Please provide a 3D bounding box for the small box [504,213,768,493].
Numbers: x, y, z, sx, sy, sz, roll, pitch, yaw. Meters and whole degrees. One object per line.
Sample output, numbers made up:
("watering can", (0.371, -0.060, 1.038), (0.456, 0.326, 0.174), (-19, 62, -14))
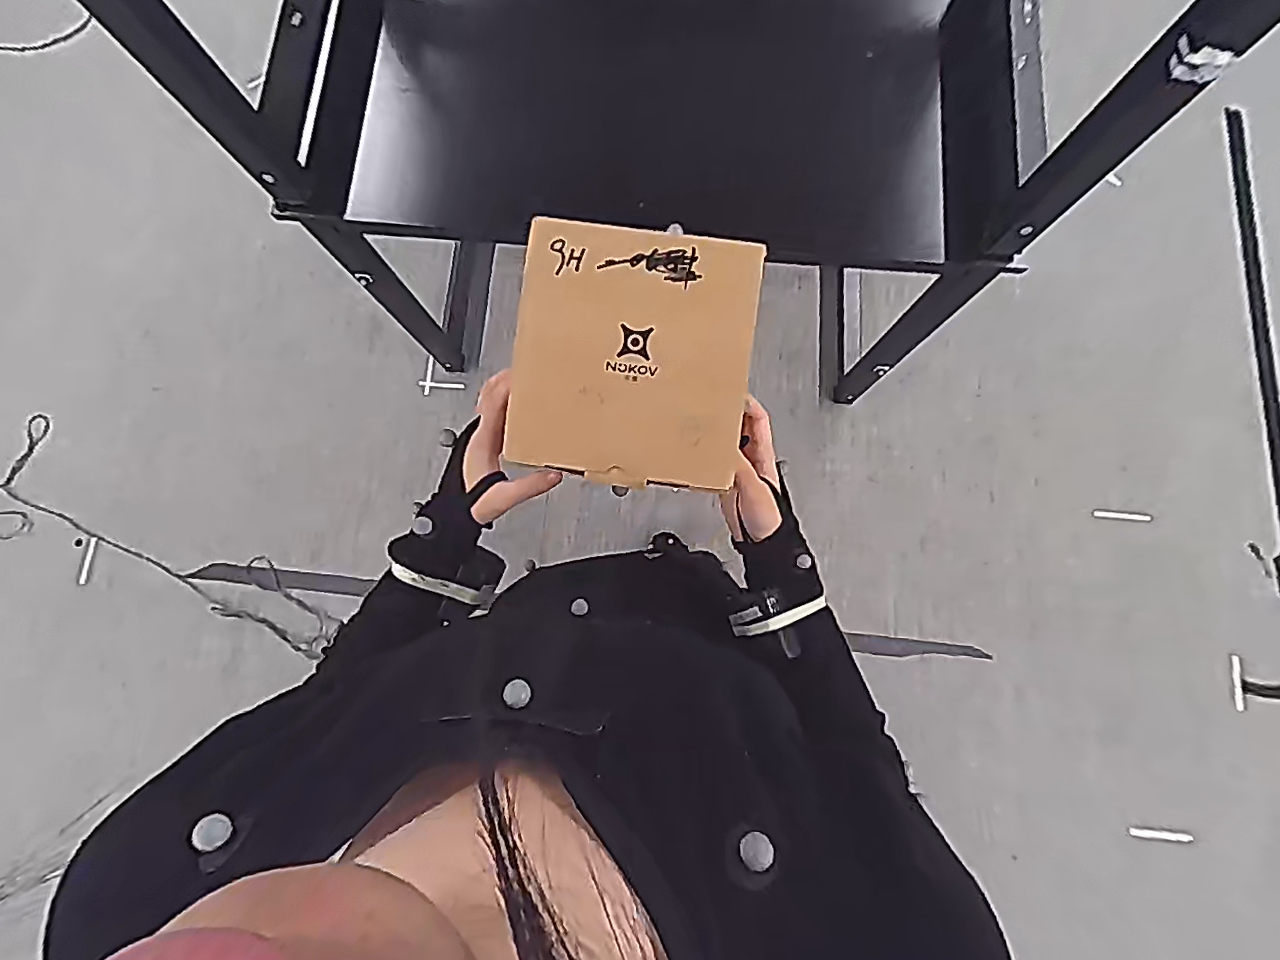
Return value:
("small box", (-0.002, -0.091, 0.453), (0.168, 0.176, 0.179), (8, 93, 0))
